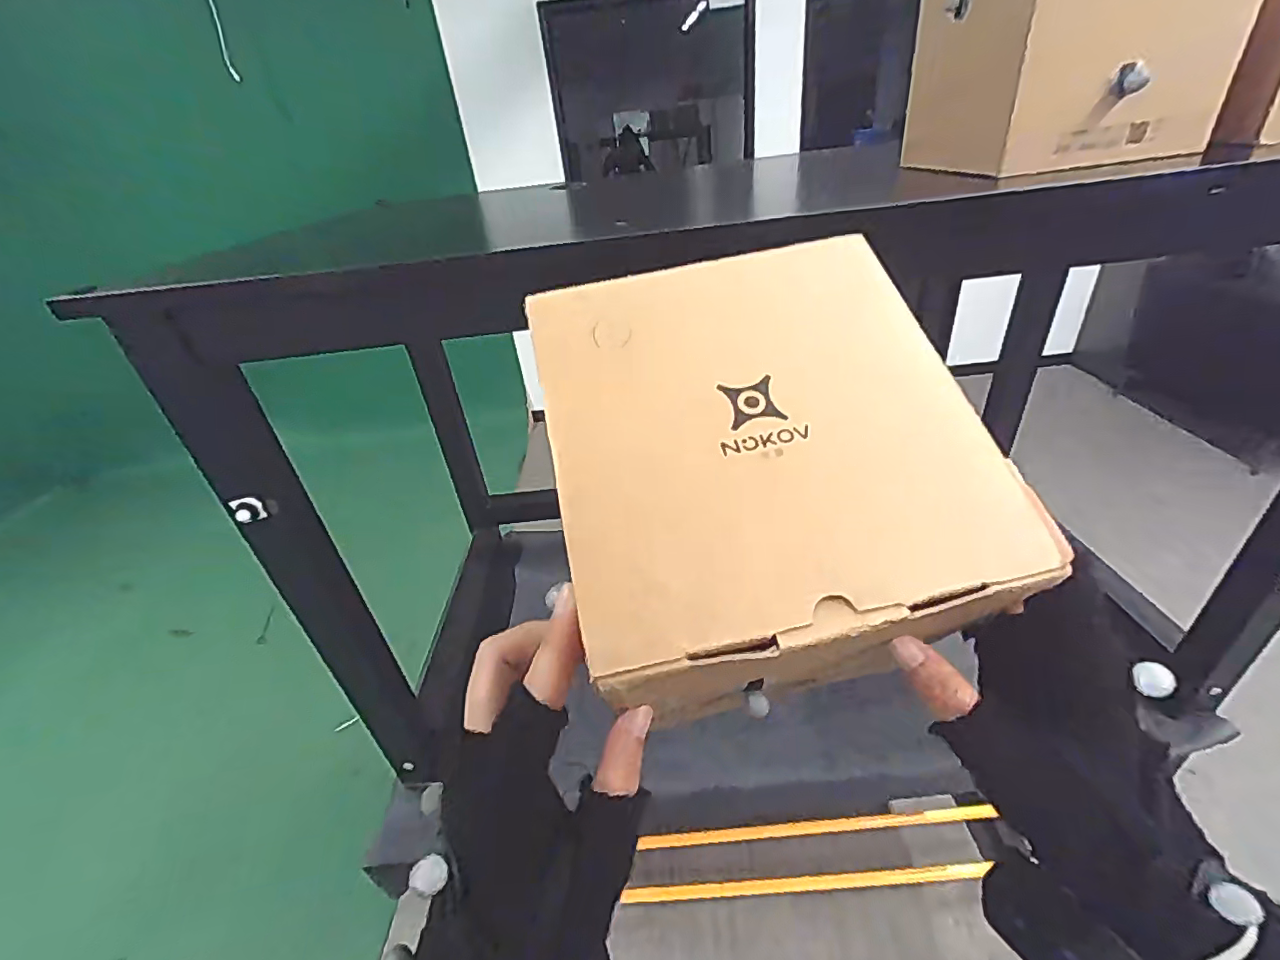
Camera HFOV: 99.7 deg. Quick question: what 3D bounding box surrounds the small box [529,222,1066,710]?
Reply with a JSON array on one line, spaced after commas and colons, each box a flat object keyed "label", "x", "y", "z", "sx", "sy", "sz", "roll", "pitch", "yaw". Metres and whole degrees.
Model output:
[{"label": "small box", "x": 0.047, "y": 0.004, "z": 0.282, "sx": 0.168, "sy": 0.176, "sz": 0.179, "roll": -12, "pitch": 62, "yaw": -4}]

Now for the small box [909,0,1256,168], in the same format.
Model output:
[{"label": "small box", "x": 0.353, "y": -0.368, "z": 0.457, "sx": 0.168, "sy": 0.176, "sz": 0.179, "roll": -7, "pitch": 33, "yaw": 1}]
